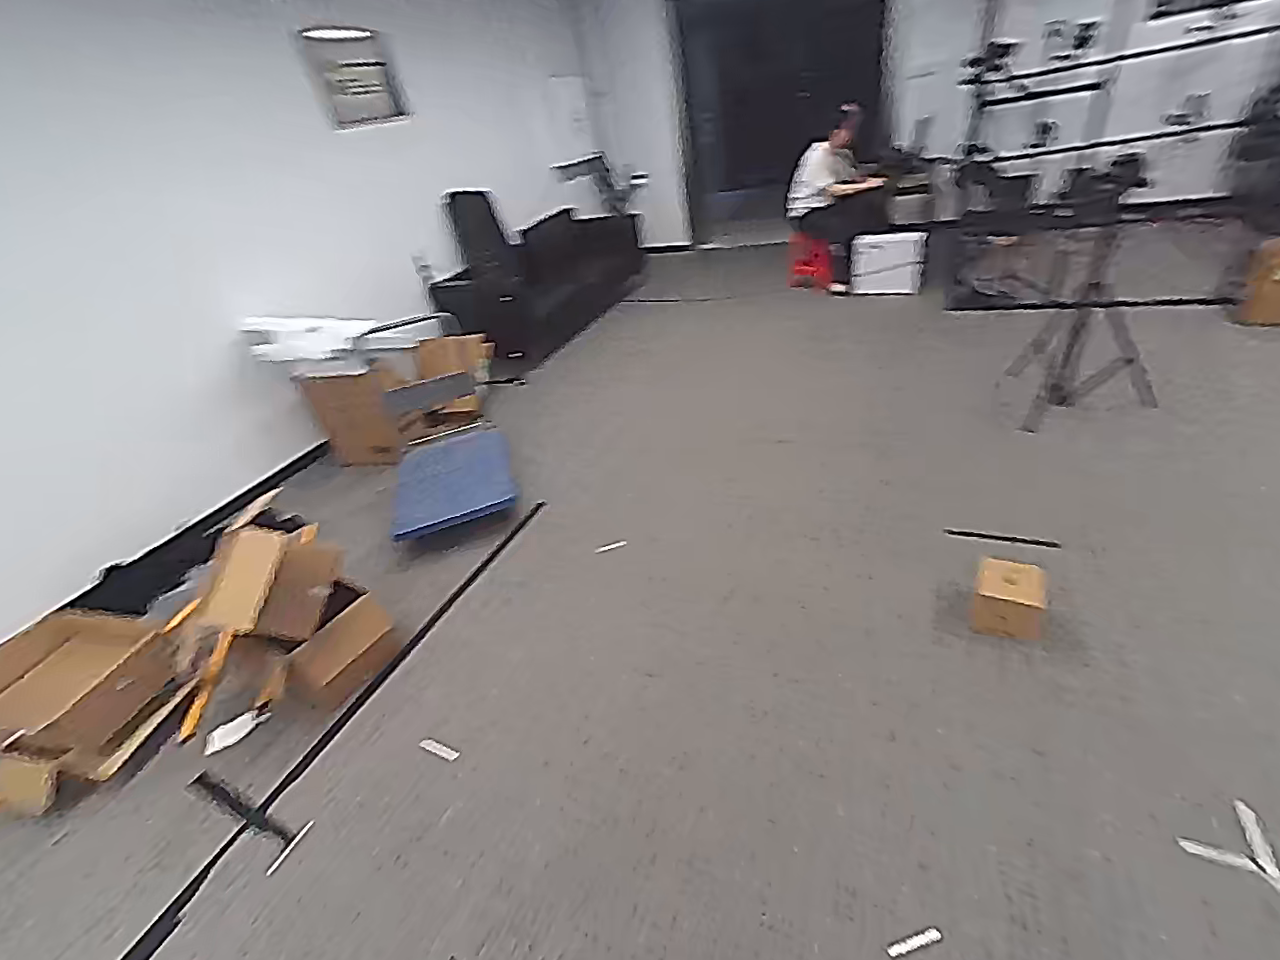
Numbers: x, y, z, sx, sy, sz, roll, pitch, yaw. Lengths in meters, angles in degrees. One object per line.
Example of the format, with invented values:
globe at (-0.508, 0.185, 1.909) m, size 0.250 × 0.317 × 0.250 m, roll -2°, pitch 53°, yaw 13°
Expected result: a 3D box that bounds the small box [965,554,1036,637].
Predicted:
small box at (1.146, 0.369, 1.722) m, size 0.168 × 0.176 × 0.179 m, roll 10°, pitch 39°, yaw 29°
